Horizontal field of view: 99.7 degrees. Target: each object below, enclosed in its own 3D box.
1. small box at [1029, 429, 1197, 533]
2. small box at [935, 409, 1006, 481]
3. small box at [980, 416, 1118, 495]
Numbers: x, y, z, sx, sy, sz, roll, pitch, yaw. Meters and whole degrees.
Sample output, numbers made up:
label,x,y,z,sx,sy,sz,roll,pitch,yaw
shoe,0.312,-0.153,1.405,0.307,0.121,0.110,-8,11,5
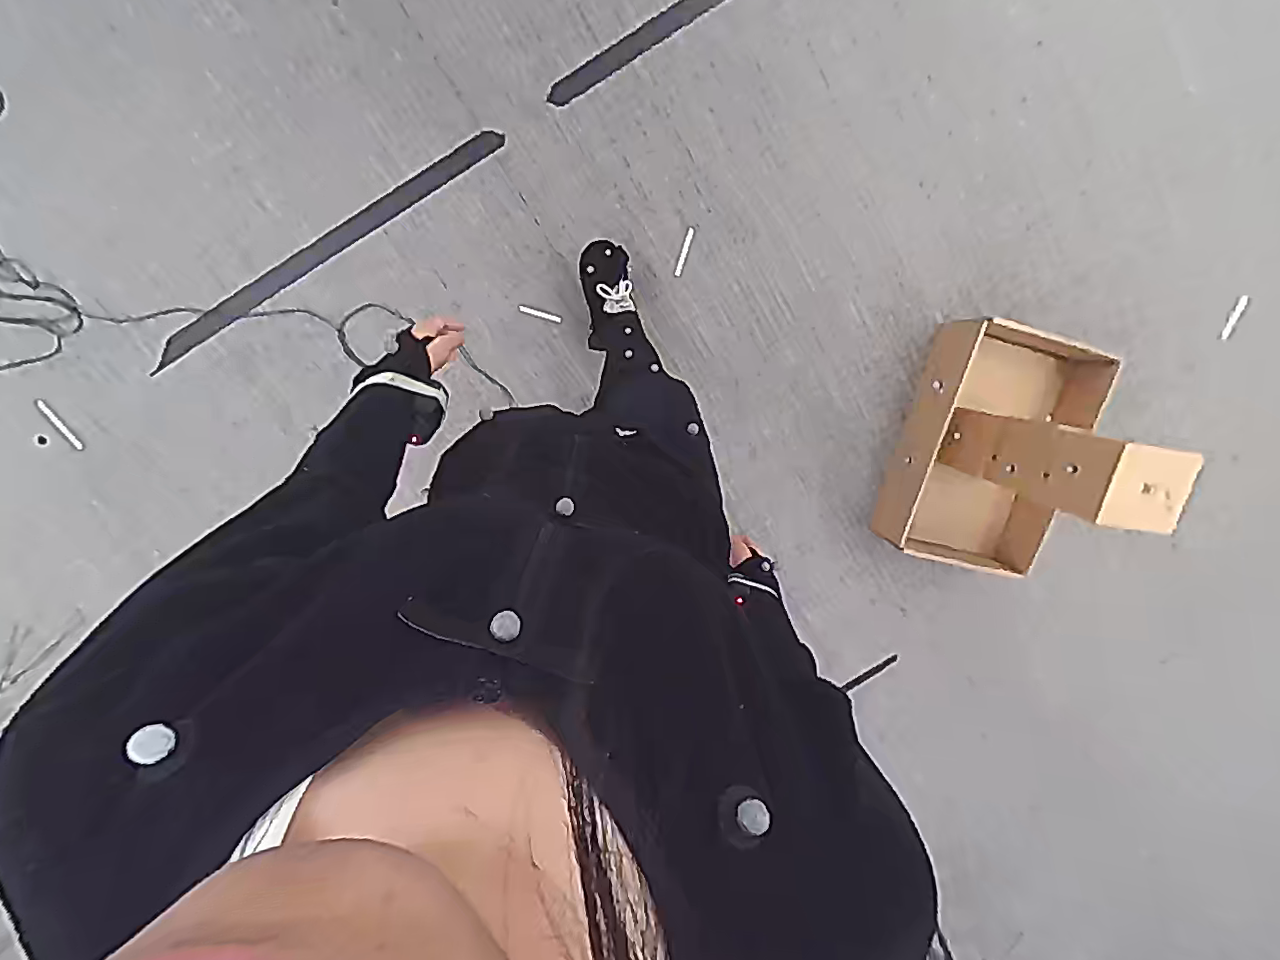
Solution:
label,x,y,z,sx,sy,sz,roll,pitch,yaw
small box,0.969,-0.004,1.128,0.179,0.176,0.168,8,105,-7
small box,0.939,-0.087,1.443,0.179,0.176,0.168,13,103,-8
small box,0.958,-0.052,1.286,0.179,0.176,0.168,8,105,-9
